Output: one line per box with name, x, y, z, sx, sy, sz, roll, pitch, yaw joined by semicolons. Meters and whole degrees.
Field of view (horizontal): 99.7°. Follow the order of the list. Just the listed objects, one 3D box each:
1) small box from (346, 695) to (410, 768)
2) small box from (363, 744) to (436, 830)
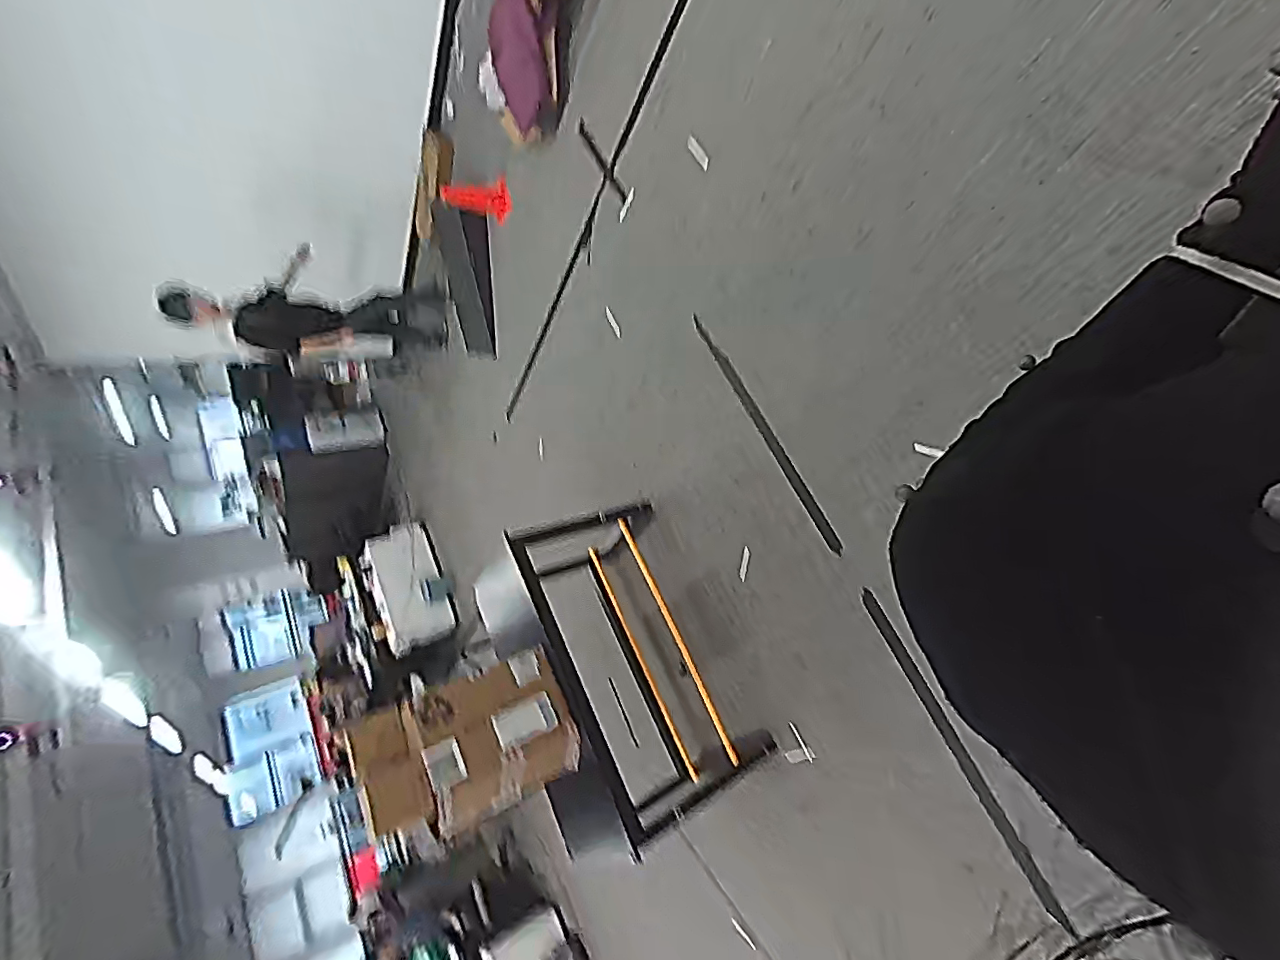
small box;-0.916;0.877;1.892;0.179;0.176;0.168;-53;55;46
small box;-0.739;0.940;1.658;0.168;0.176;0.179;62;140;24
